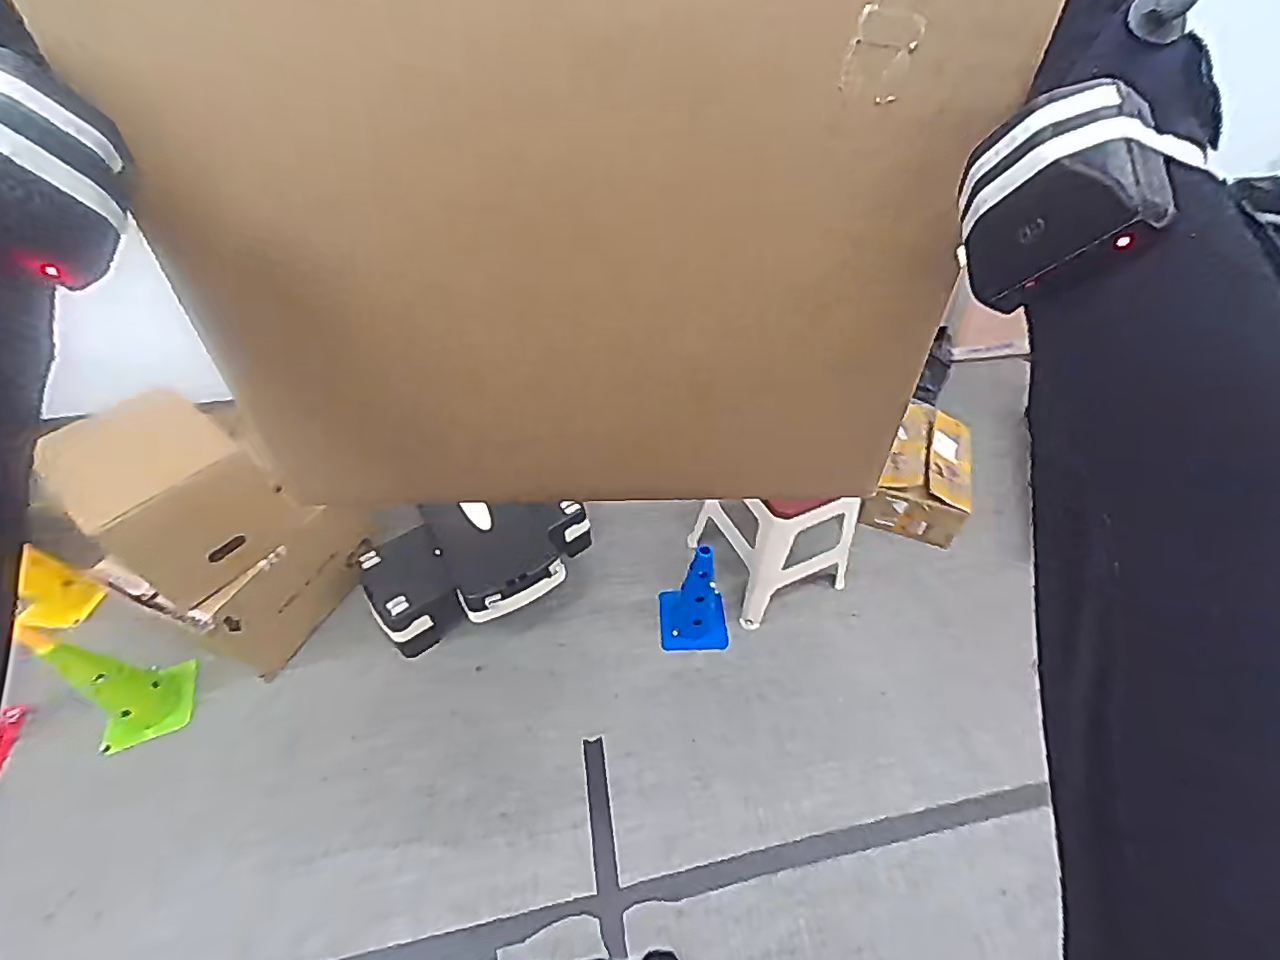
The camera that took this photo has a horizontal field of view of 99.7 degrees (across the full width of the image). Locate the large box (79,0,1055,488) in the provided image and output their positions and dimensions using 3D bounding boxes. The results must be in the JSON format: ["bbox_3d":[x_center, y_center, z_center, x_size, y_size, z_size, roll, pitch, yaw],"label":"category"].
[{"bbox_3d":[-0.034,-0.203,0.397,0.408,0.320,0.320,0,40,-2],"label":"large box"}]
